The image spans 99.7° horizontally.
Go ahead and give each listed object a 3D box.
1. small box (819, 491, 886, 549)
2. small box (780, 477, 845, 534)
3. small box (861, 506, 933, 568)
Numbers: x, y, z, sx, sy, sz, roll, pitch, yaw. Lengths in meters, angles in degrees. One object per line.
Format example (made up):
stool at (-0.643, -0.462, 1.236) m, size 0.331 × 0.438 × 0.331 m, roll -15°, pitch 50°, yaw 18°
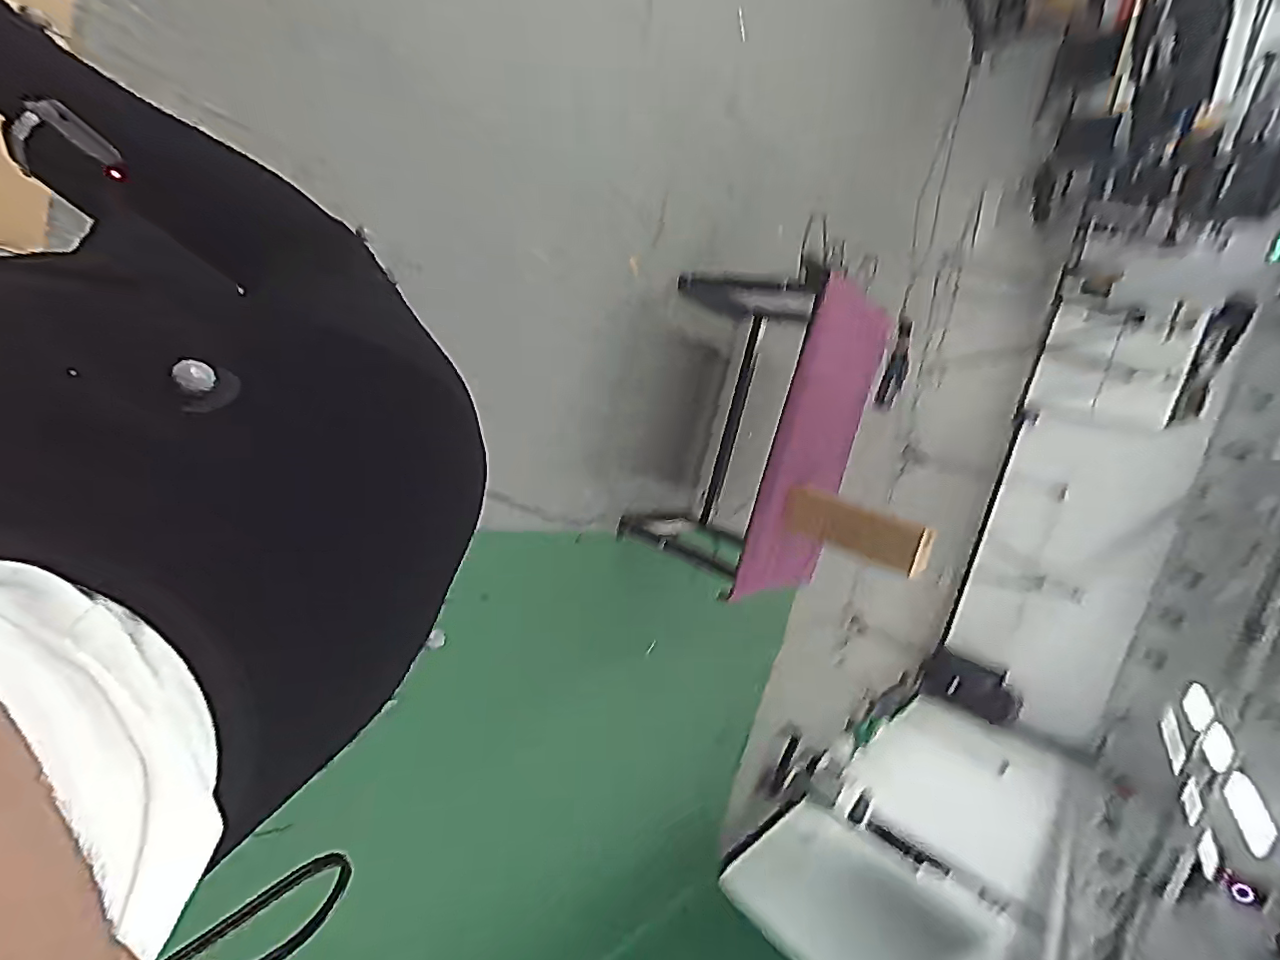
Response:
small box at (0.793, 0.147, 2.027) m, size 0.168 × 0.176 × 0.179 m, roll 5°, pitch 103°, yaw -49°
small box at (0.675, 0.100, 2.130) m, size 0.168 × 0.176 × 0.179 m, roll 3°, pitch 105°, yaw -49°
small box at (0.911, 0.197, 1.925) m, size 0.168 × 0.176 × 0.179 m, roll 4°, pitch 104°, yaw -48°
